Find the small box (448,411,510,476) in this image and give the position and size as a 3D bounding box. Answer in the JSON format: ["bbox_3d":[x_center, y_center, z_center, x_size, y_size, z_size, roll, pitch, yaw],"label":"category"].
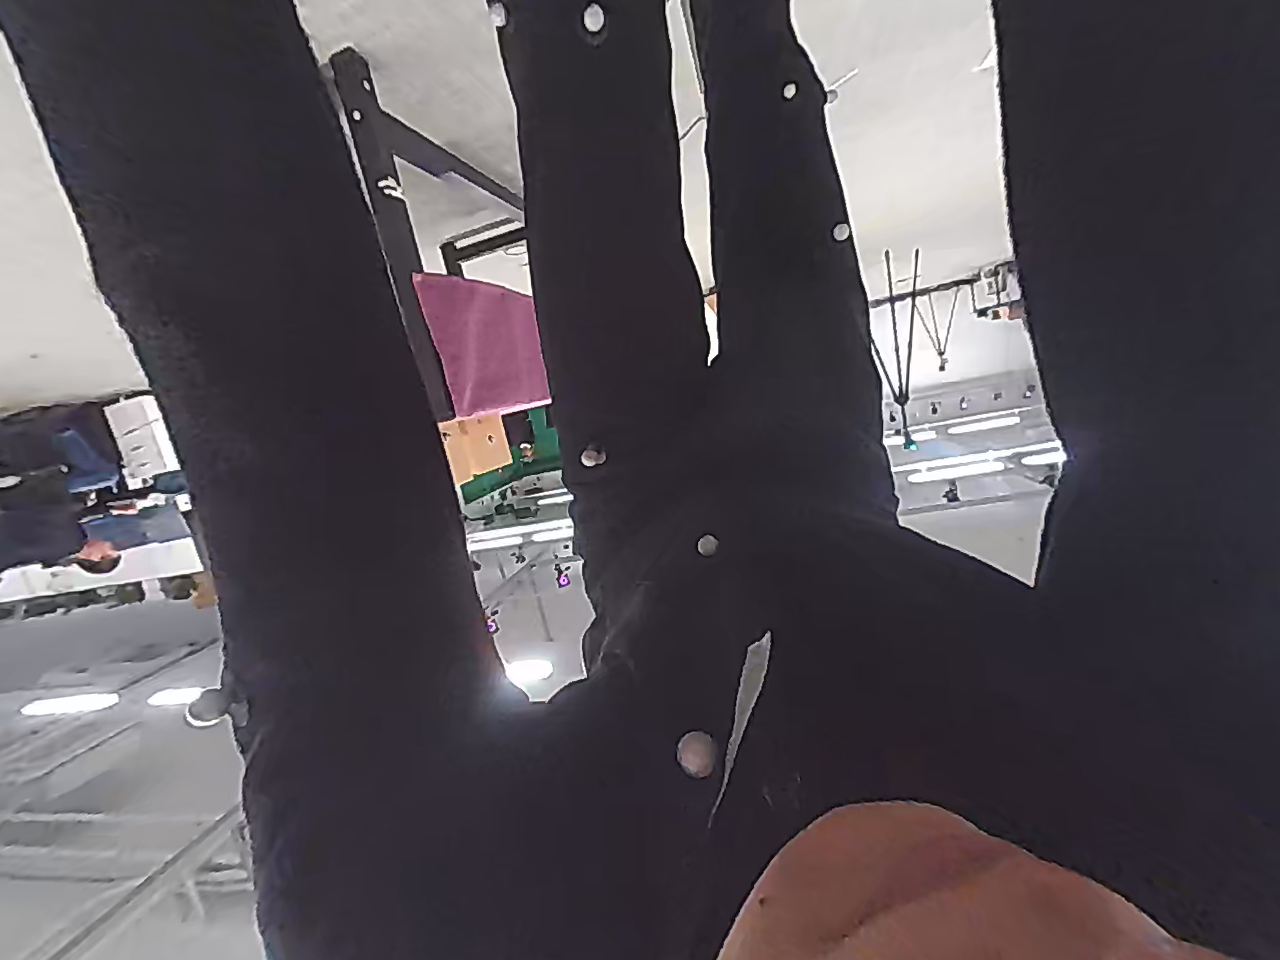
[{"bbox_3d":[-0.523,-0.107,1.619,0.179,0.176,0.168,-8,-170,24],"label":"small box"}]

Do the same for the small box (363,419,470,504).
[{"bbox_3d":[-0.562,-0.052,1.355,0.179,0.176,0.168,-9,-169,19],"label":"small box"}]
